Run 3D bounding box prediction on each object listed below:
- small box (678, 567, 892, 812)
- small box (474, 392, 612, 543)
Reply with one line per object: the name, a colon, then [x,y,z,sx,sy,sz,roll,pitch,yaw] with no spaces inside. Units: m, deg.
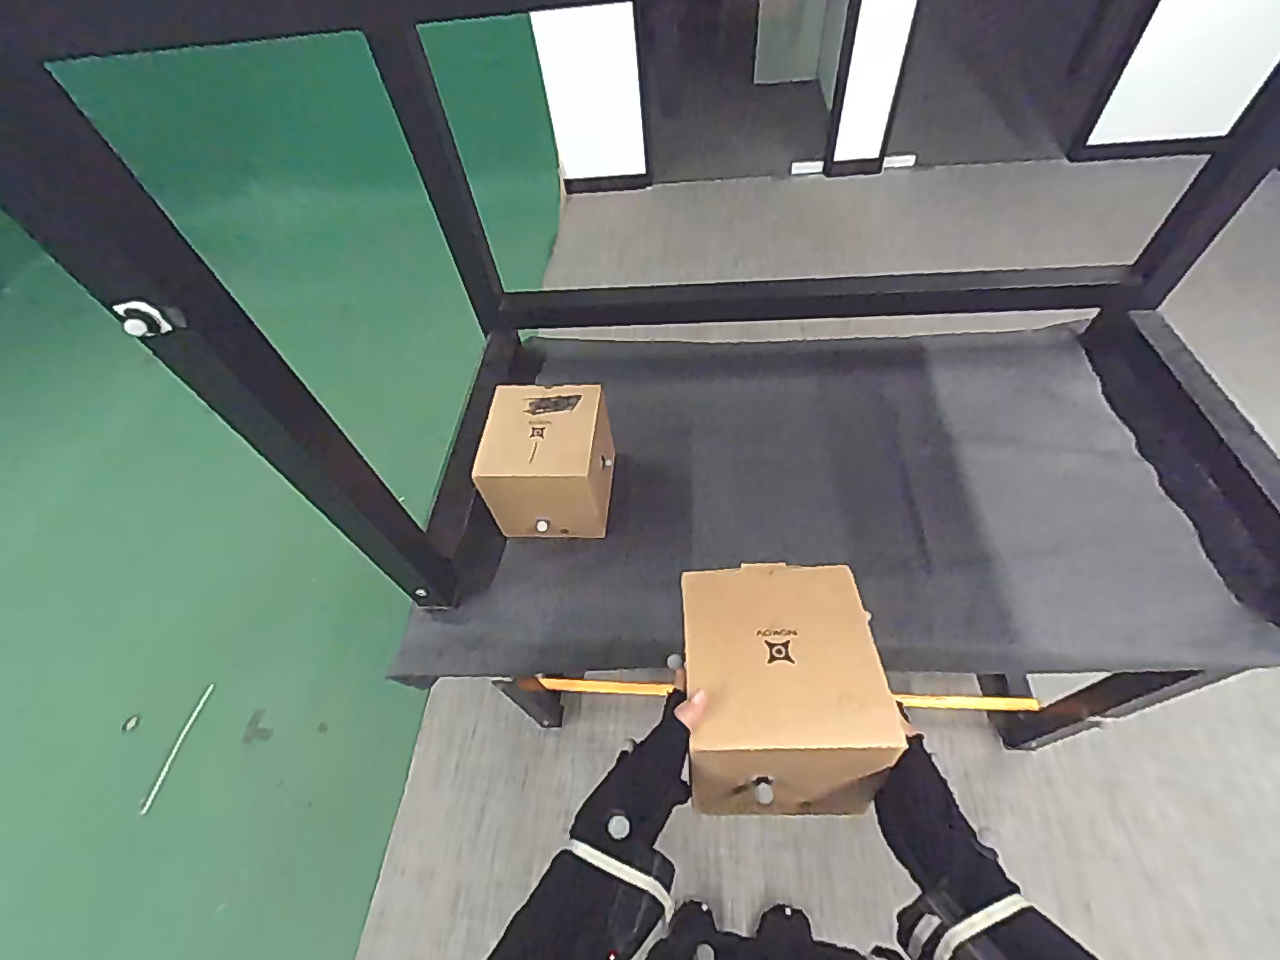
small box: [0.126,0.209,0.535,0.168,0.176,0.179,-3,41,4]
small box: [-0.138,-0.019,0.851,0.168,0.176,0.179,0,54,6]
